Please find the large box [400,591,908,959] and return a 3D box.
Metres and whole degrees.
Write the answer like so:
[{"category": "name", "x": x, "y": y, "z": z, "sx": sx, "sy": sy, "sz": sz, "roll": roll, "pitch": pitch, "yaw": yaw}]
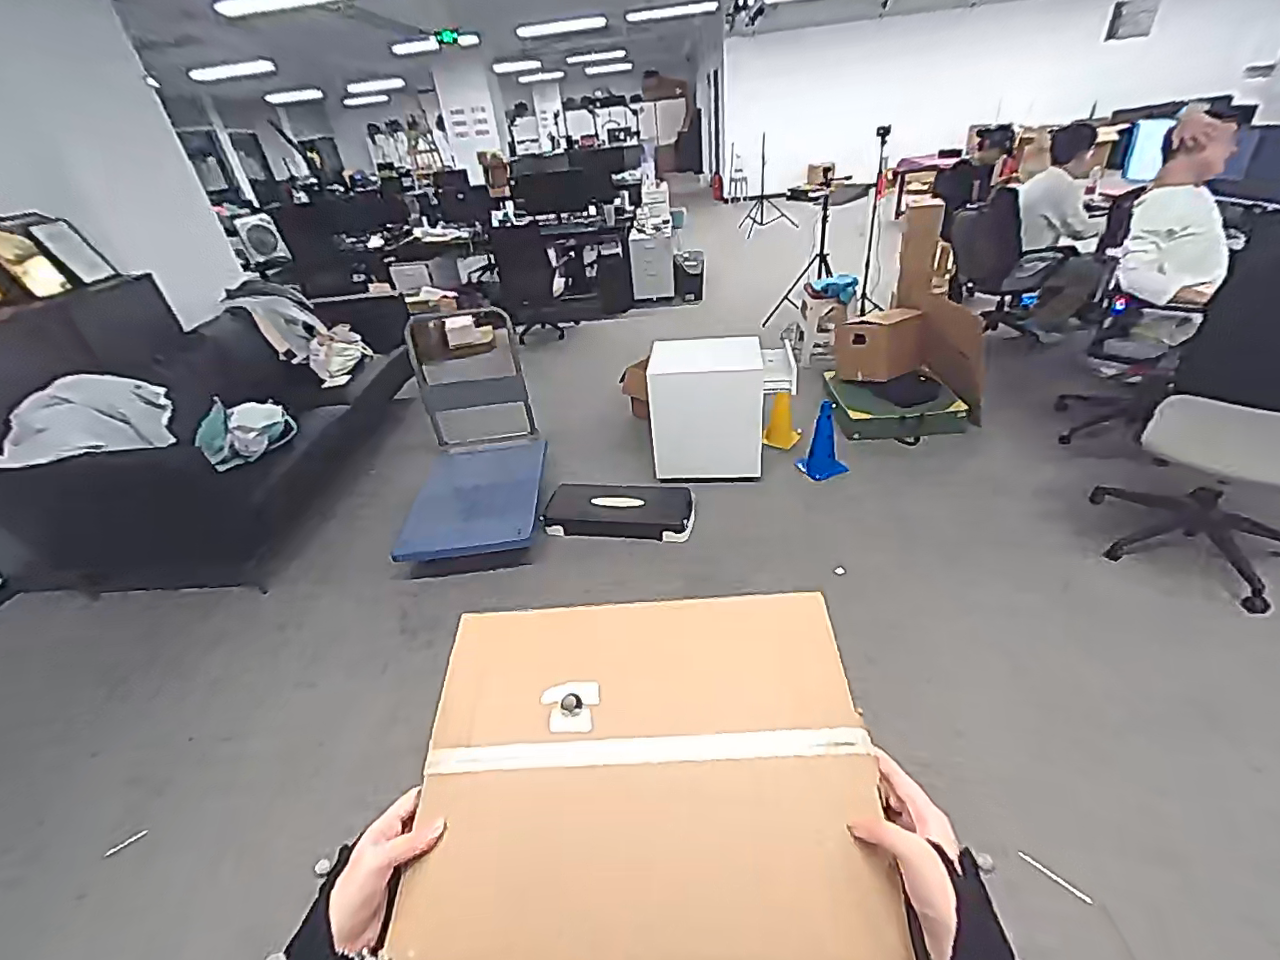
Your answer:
[{"category": "large box", "x": 0.021, "y": 0.356, "z": 0.620, "sx": 0.408, "sy": 0.320, "sz": 0.320, "roll": -6, "pitch": 47, "yaw": 5}]
